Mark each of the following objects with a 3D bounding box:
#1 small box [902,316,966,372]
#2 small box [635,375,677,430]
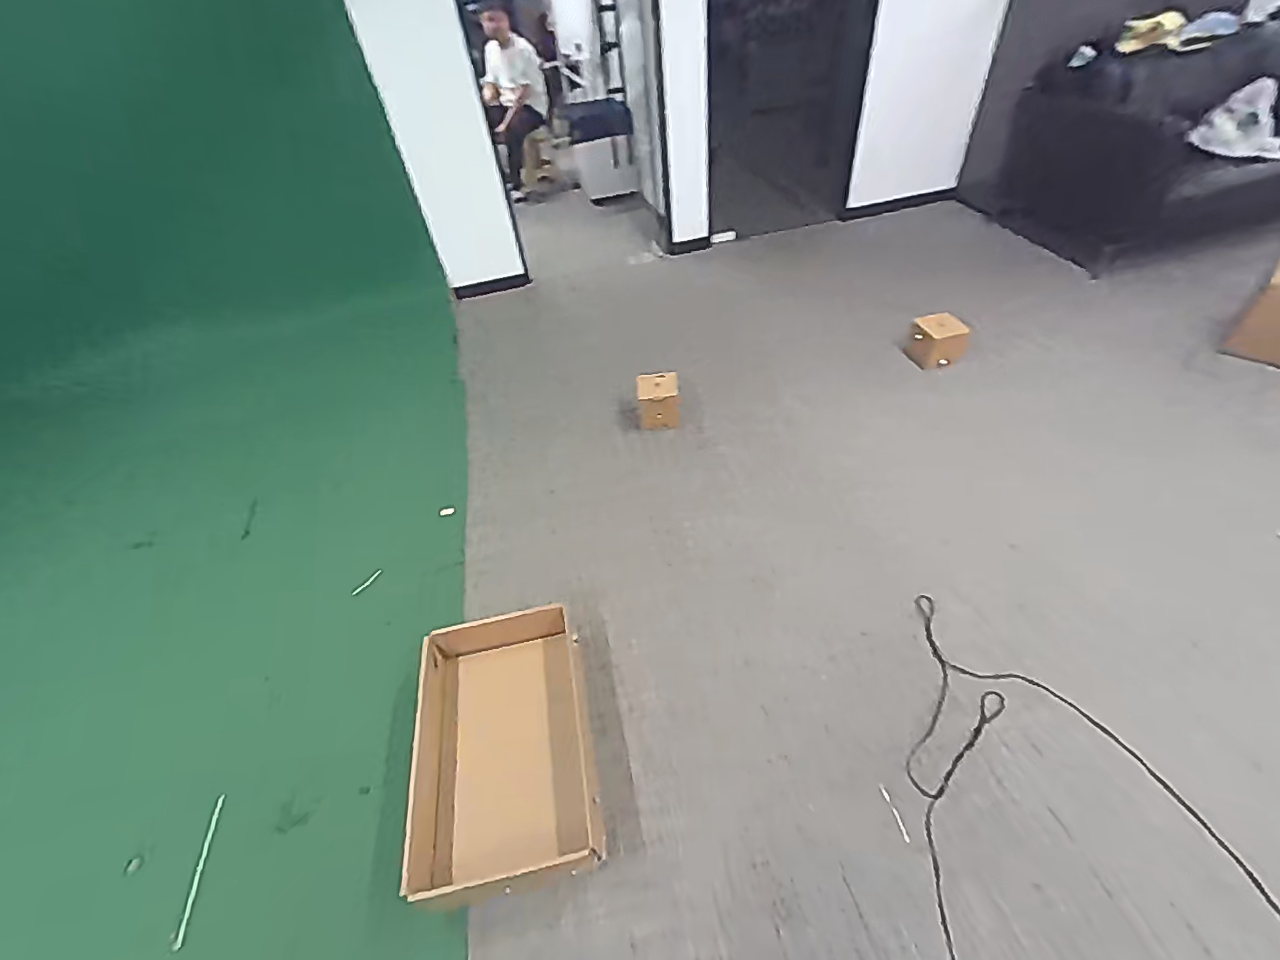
[{"bbox_3d":[1.314,-0.612,2.432,0.168,0.176,0.179,-14,45,-5],"label":"small box"},{"bbox_3d":[0.069,-0.325,2.306,0.168,0.176,0.179,-5,45,3],"label":"small box"}]
